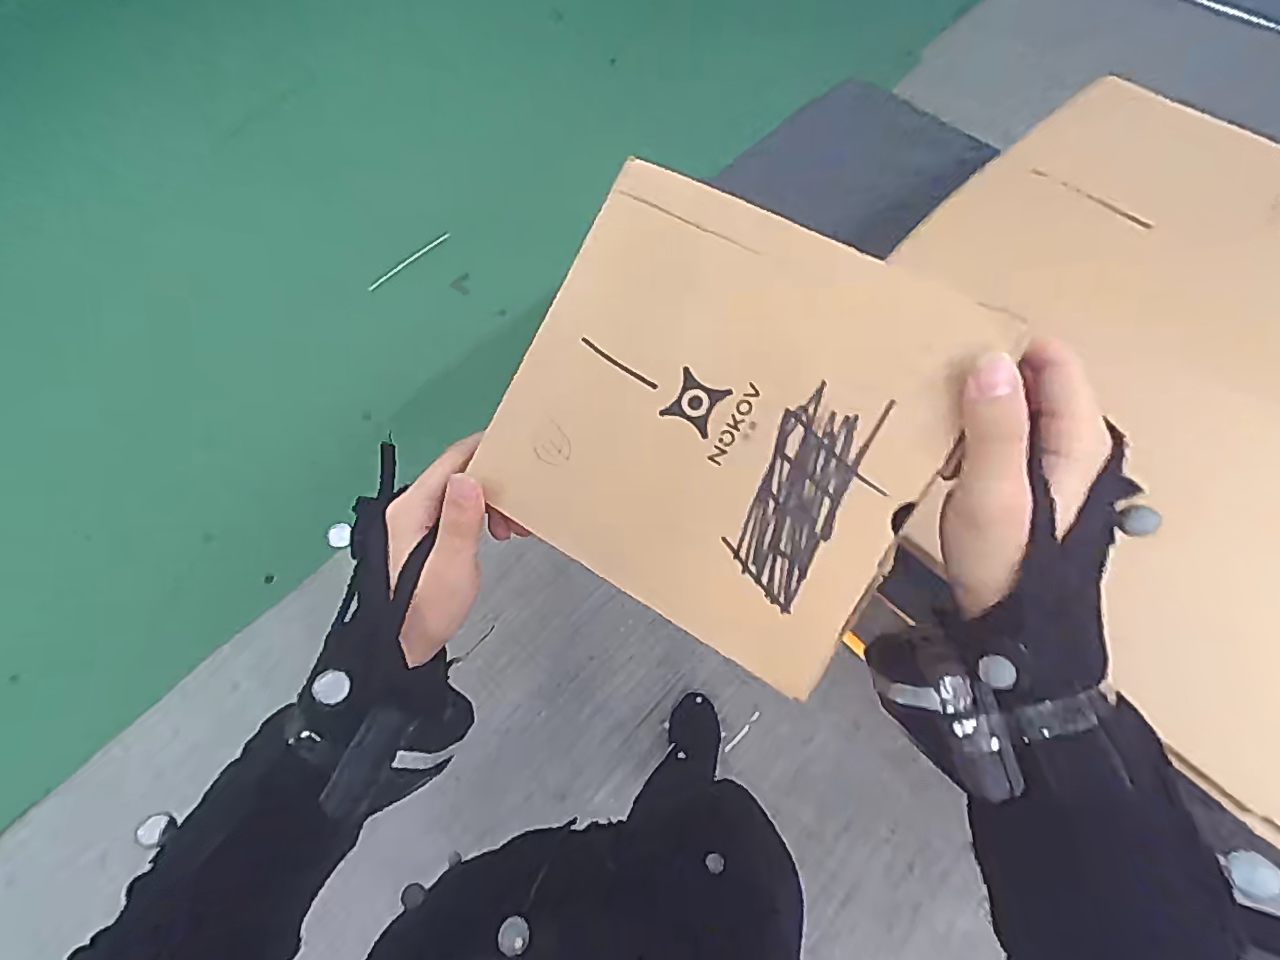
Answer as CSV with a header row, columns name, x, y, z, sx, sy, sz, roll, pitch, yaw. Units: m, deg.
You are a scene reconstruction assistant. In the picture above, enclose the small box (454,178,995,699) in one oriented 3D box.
name,x,y,z,sx,sy,sz,roll,pitch,yaw
small box,0.042,-0.021,0.305,0.179,0.176,0.168,30,95,13
